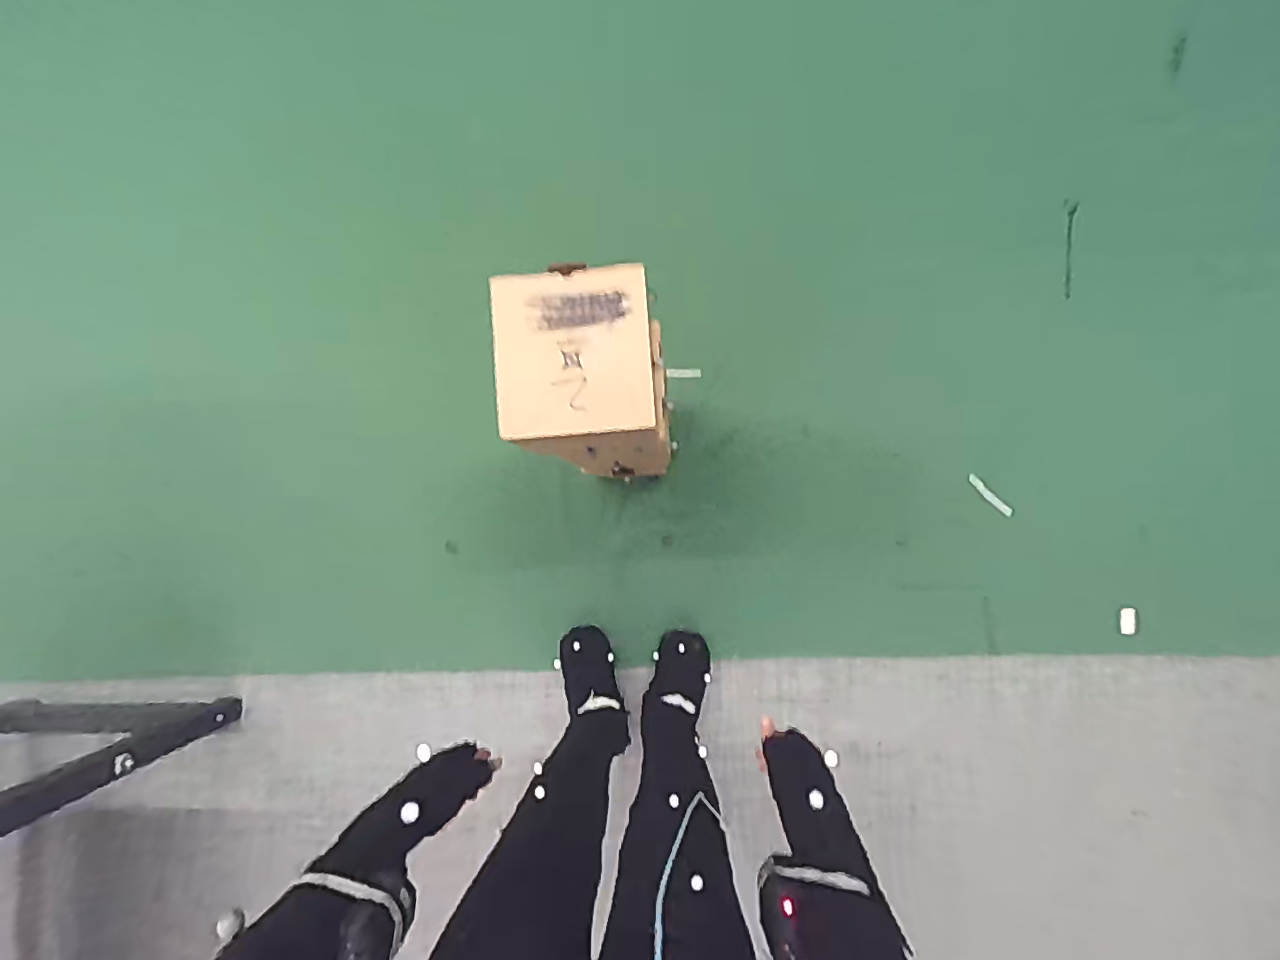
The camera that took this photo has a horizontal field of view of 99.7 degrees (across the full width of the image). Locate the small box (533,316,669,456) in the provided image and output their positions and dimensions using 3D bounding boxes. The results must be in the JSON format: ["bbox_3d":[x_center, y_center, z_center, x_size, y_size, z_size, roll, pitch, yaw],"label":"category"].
[{"bbox_3d":[-0.050,-0.130,0.806,0.179,0.176,0.168,-4,86,3],"label":"small box"}]

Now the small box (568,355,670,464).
[{"bbox_3d":[-0.034,-0.121,0.965,0.179,0.176,0.168,0,85,4],"label":"small box"}]

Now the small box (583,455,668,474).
[{"bbox_3d":[-0.028,-0.108,1.131,0.168,0.176,0.179,-3,87,5],"label":"small box"}]
